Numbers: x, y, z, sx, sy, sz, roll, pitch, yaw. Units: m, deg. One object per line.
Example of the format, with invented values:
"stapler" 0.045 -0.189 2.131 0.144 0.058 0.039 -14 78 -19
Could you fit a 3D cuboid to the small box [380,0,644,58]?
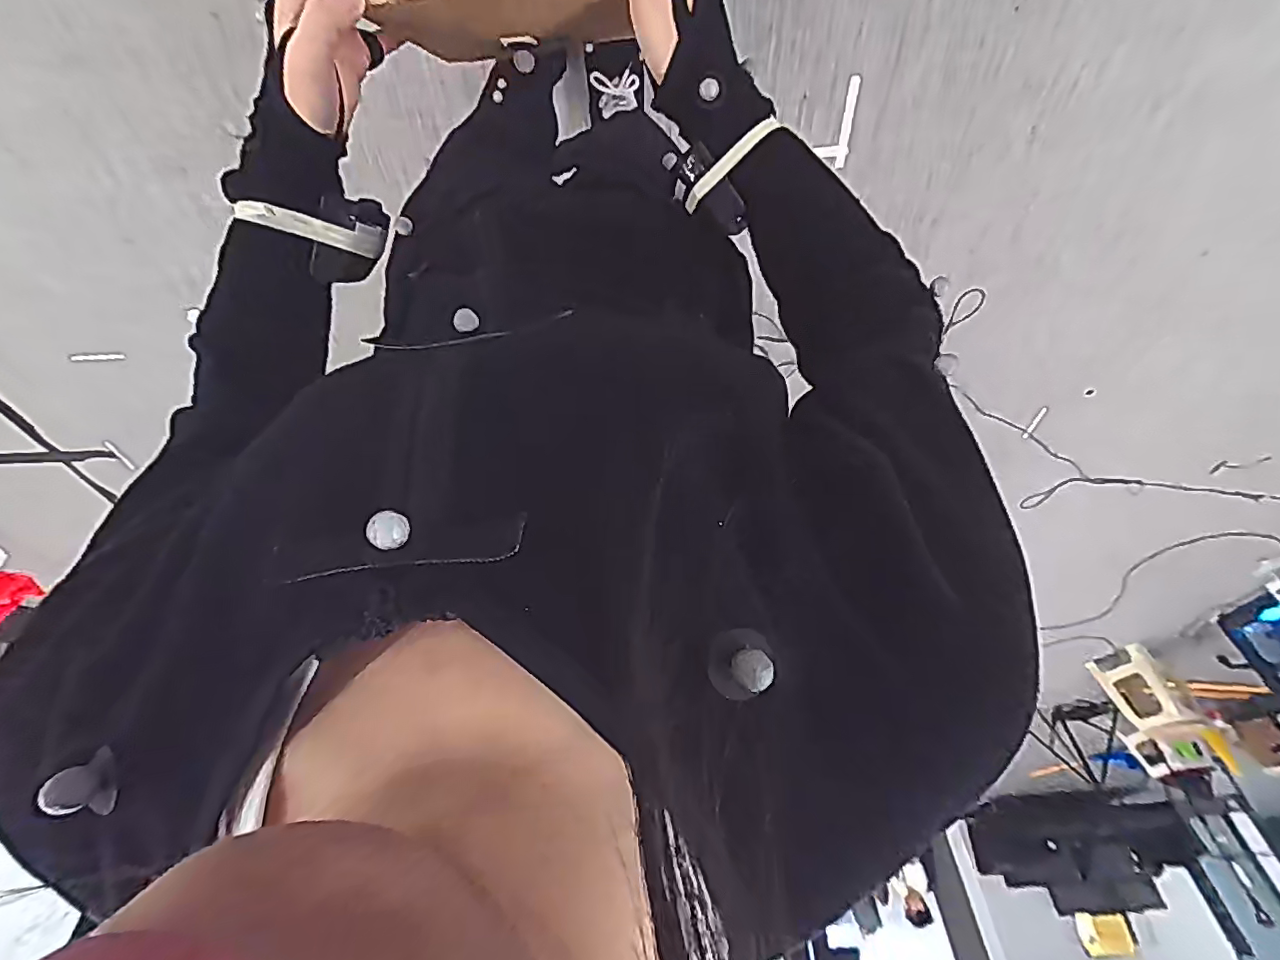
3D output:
"small box" -0.091 -0.392 0.330 0.168 0.176 0.179 -3 118 7
